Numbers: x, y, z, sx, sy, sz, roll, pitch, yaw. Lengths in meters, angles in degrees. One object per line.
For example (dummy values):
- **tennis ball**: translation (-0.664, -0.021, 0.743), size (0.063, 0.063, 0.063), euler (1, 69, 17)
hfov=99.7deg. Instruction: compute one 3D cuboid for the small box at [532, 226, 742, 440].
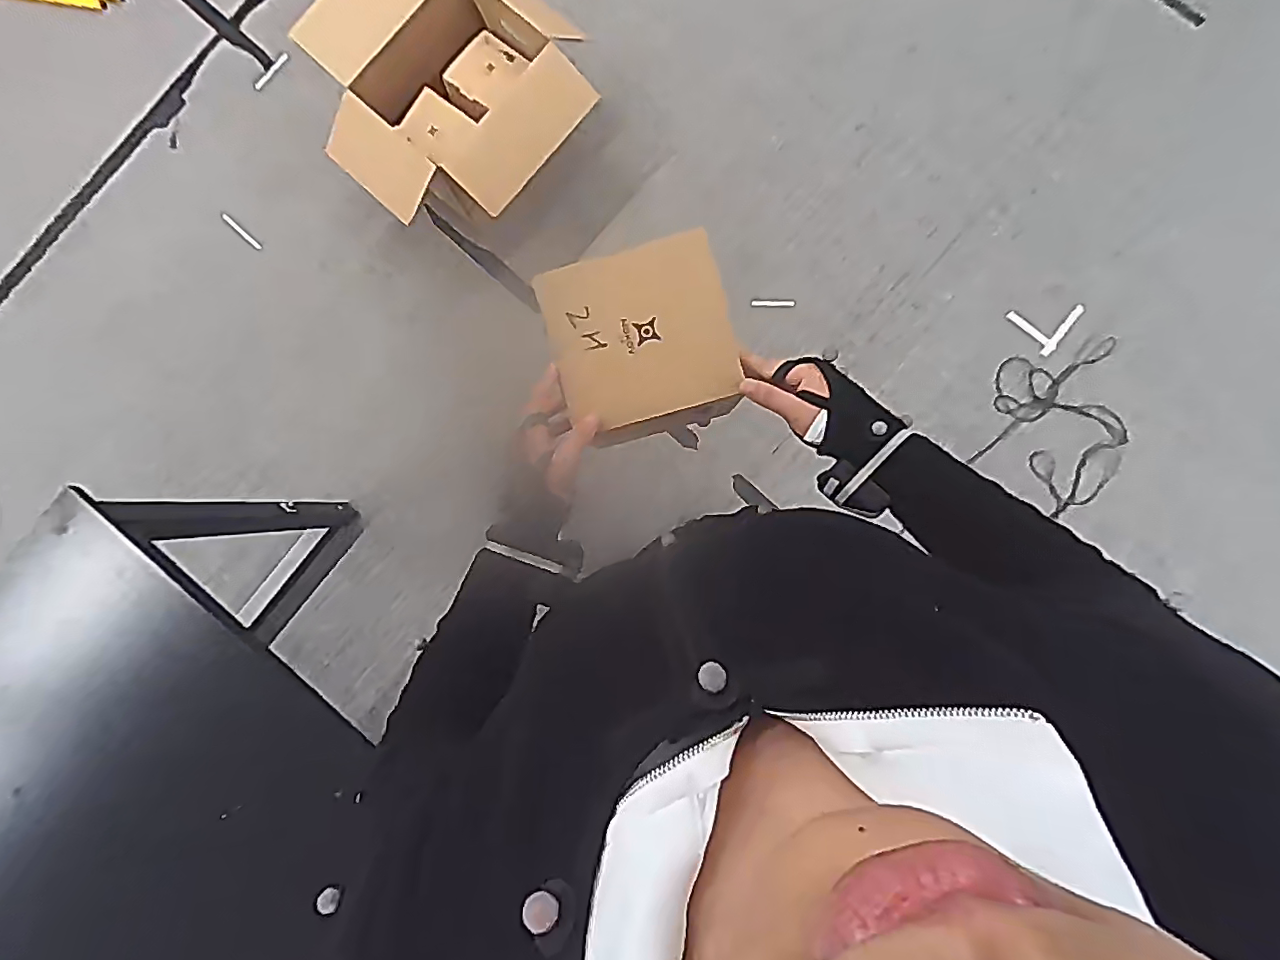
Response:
- **small box**: translation (0.000, -0.147, 0.604), size (0.179, 0.176, 0.168), euler (-15, 89, 3)
